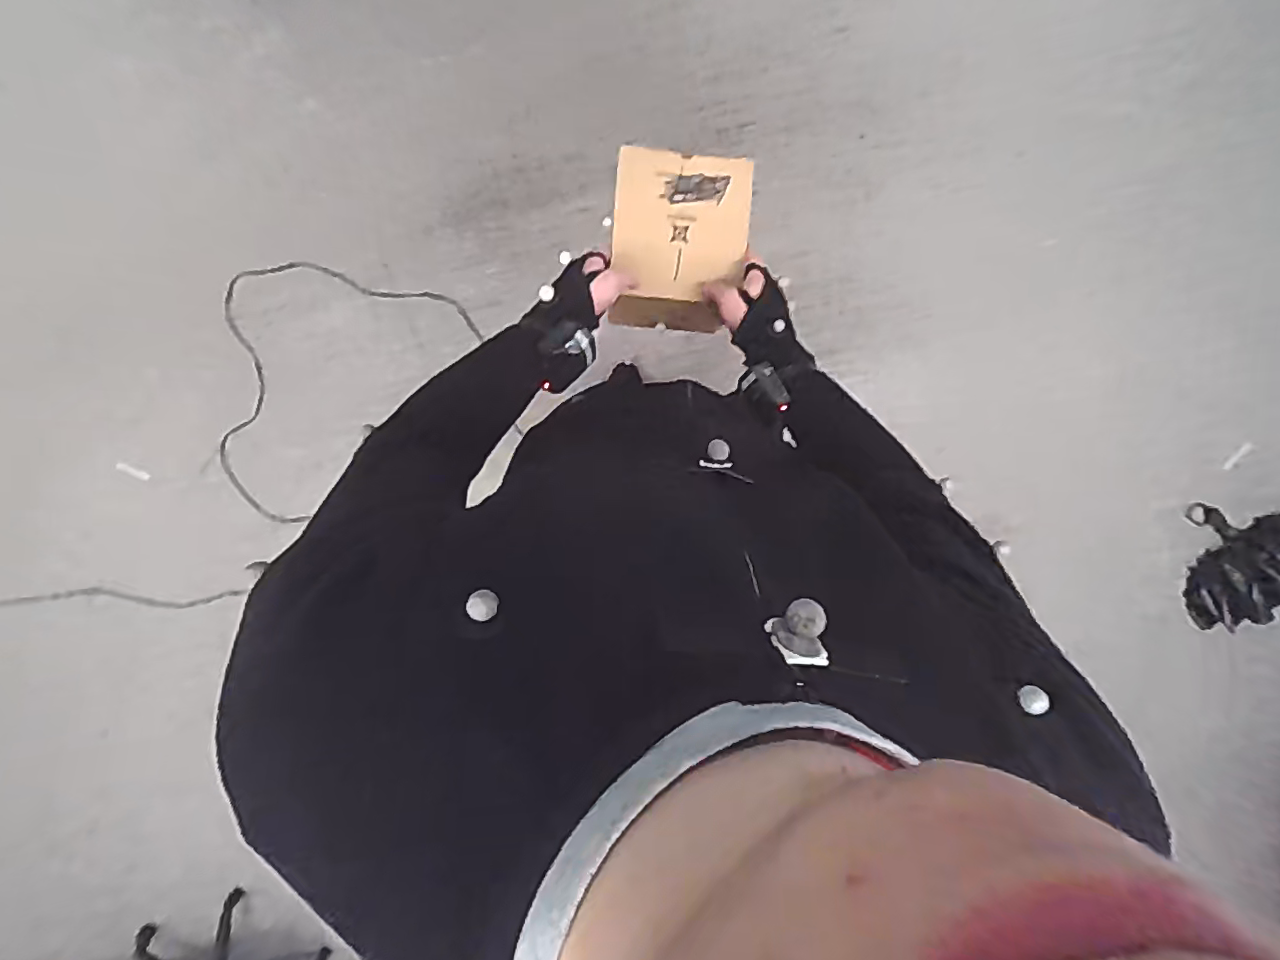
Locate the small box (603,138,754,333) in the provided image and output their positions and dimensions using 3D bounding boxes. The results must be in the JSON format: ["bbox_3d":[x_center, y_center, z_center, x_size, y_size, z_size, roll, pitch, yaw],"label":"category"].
[{"bbox_3d":[0.040,-0.305,0.711,0.168,0.176,0.179,5,93,-4],"label":"small box"}]
